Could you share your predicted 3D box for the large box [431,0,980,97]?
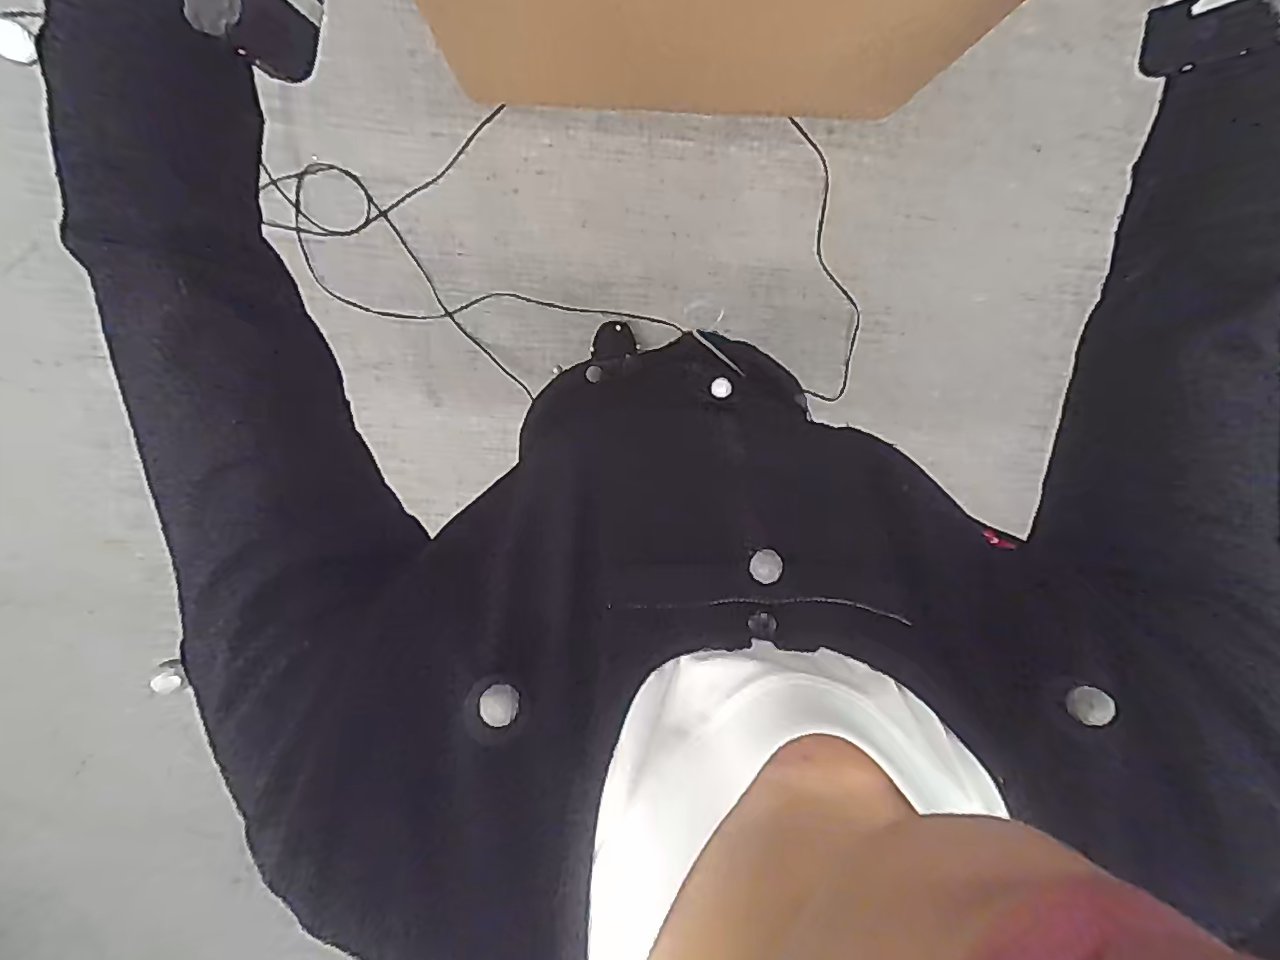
[{"bbox_3d":[0.047,-0.482,0.337,0.408,0.320,0.320,-1,103,-5],"label":"large box"}]
